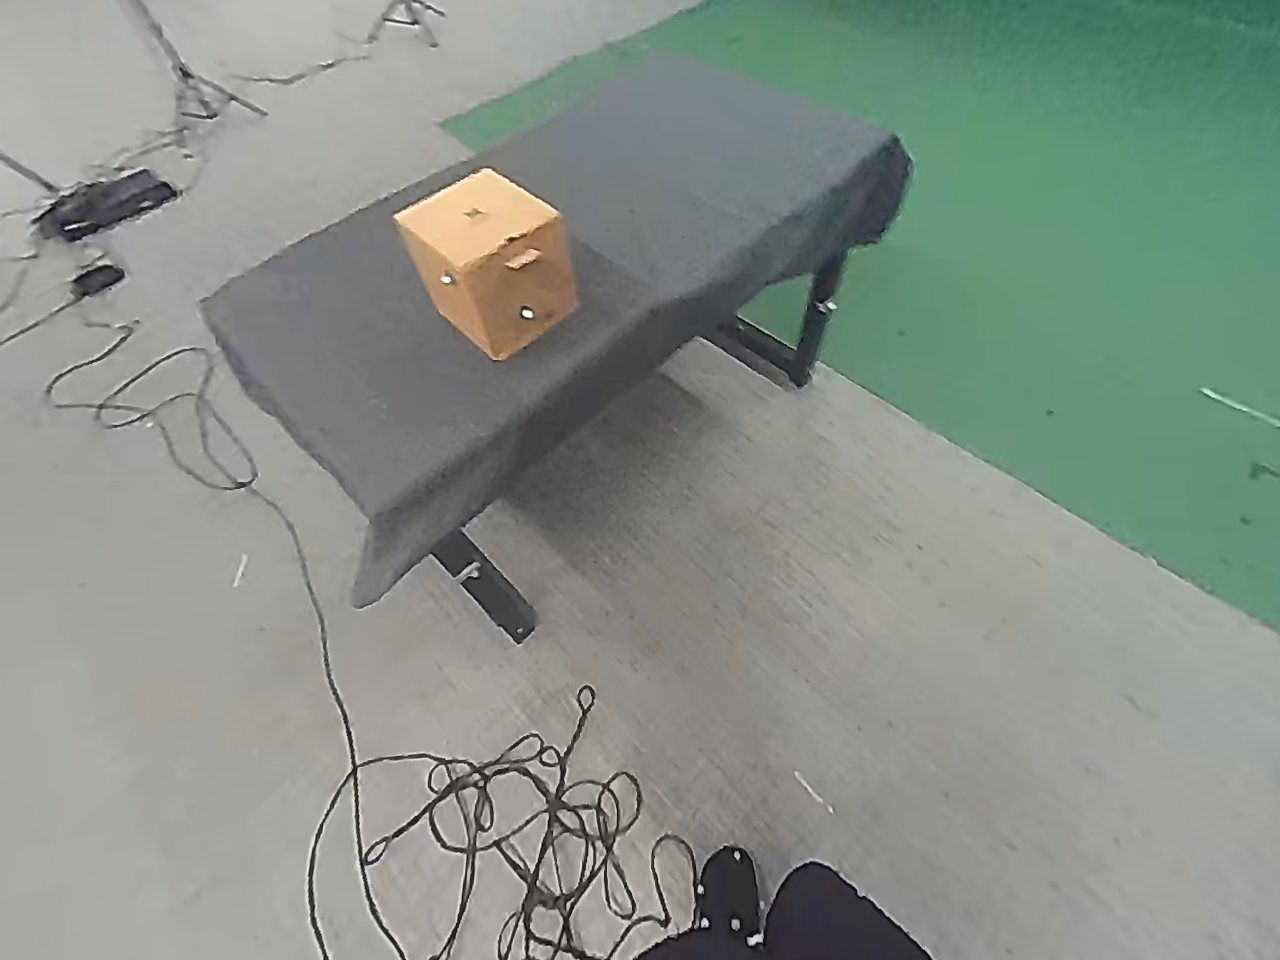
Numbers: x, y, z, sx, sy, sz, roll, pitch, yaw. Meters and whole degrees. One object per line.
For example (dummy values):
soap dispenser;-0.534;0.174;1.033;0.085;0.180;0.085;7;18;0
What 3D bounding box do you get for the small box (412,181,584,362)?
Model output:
small box;-0.206;-0.314;0.823;0.168;0.176;0.179;-39;64;-20
